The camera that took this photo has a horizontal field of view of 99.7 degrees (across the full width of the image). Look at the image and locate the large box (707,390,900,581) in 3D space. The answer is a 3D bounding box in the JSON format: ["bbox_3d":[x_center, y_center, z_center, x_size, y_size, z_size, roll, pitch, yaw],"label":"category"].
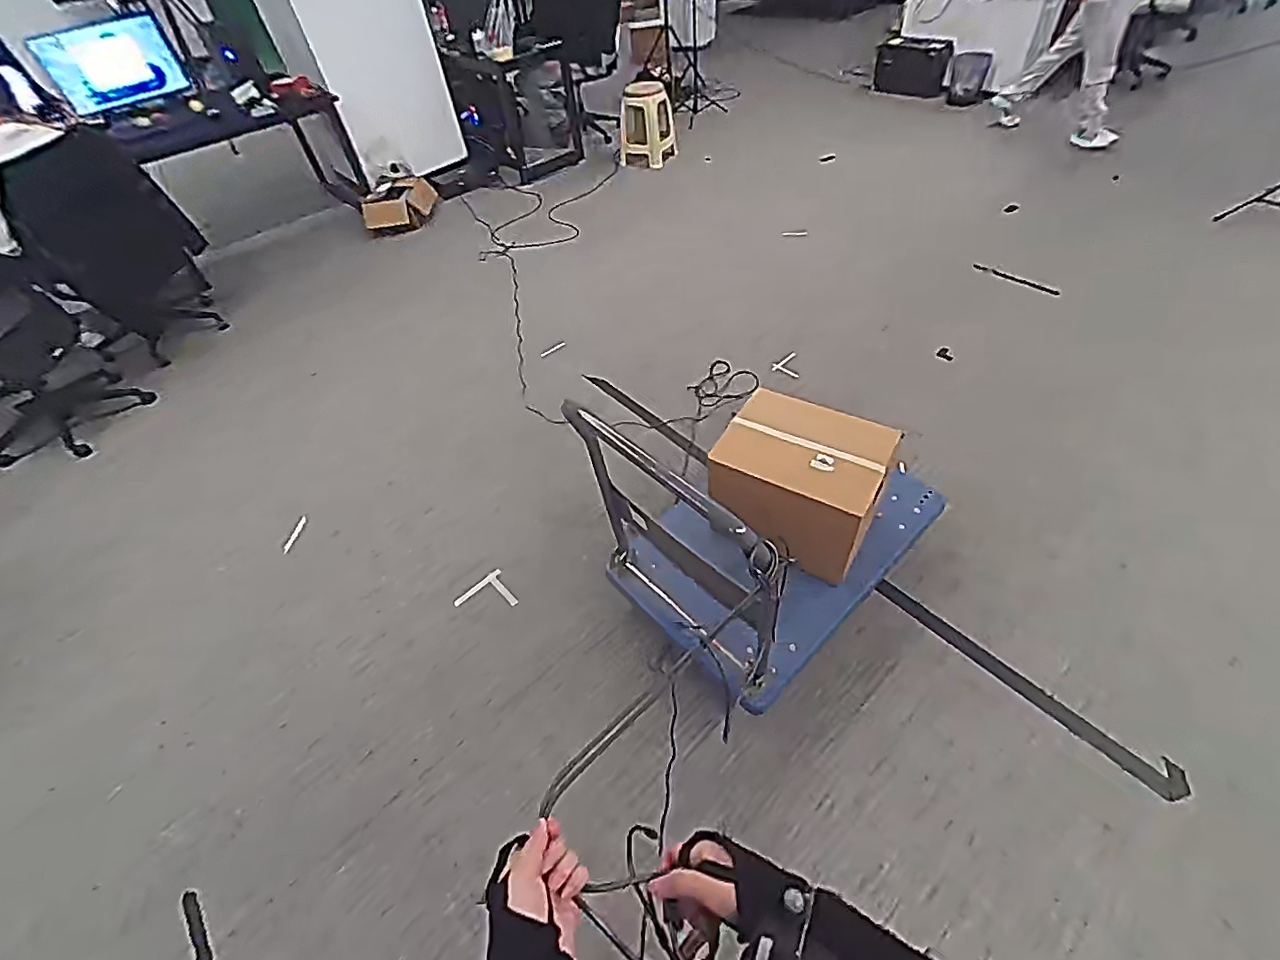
[{"bbox_3d":[0.427,0.010,1.485,0.408,0.320,0.320,23,57,25],"label":"large box"}]
